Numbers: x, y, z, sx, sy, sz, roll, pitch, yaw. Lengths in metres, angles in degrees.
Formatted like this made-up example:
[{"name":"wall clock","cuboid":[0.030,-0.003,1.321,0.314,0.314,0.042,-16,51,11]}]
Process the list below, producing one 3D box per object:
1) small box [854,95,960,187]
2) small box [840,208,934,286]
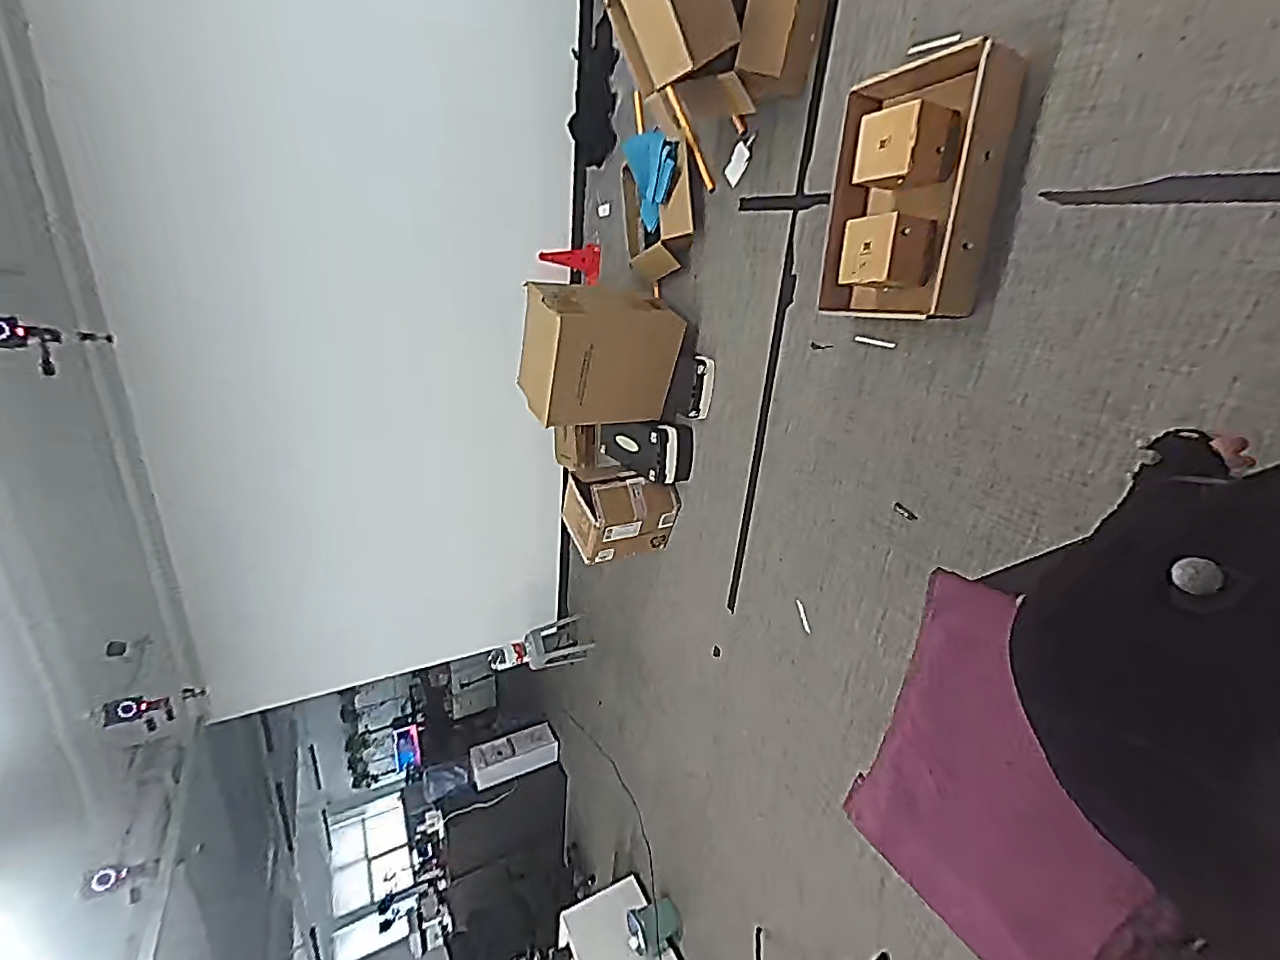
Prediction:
[{"name":"small box","cuboid":[0.713,-0.899,1.451,0.179,0.176,0.168,30,123,55]},{"name":"small box","cuboid":[0.700,-0.652,1.530,0.168,0.176,0.179,29,120,57]}]
